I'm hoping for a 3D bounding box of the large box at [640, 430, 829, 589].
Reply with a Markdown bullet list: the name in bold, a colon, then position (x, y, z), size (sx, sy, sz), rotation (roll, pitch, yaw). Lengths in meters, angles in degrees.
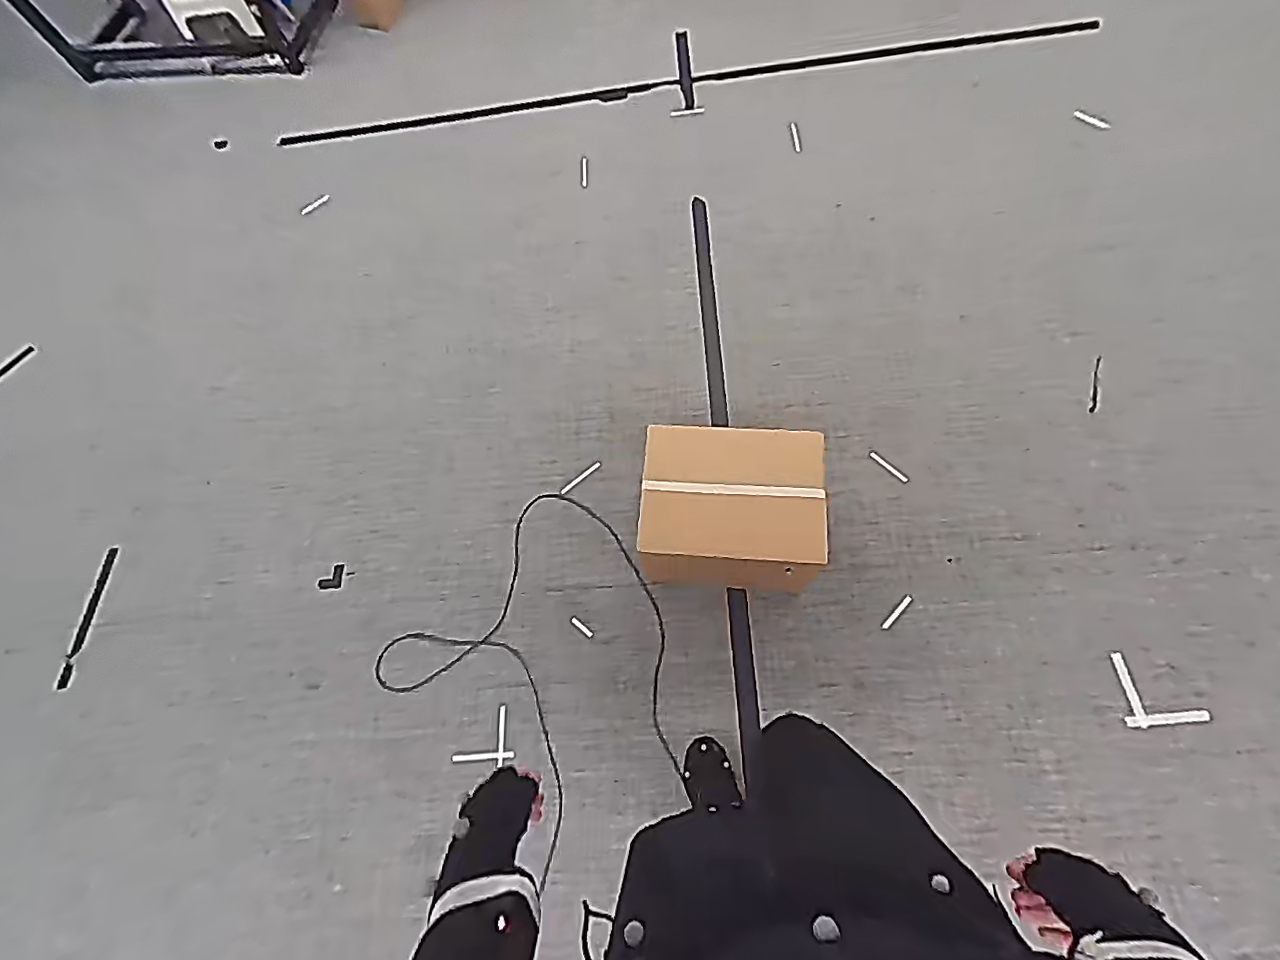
- **large box**: position (0.221, 0.084, 1.335), size (0.408, 0.320, 0.320), rotation (3, 67, 7)
